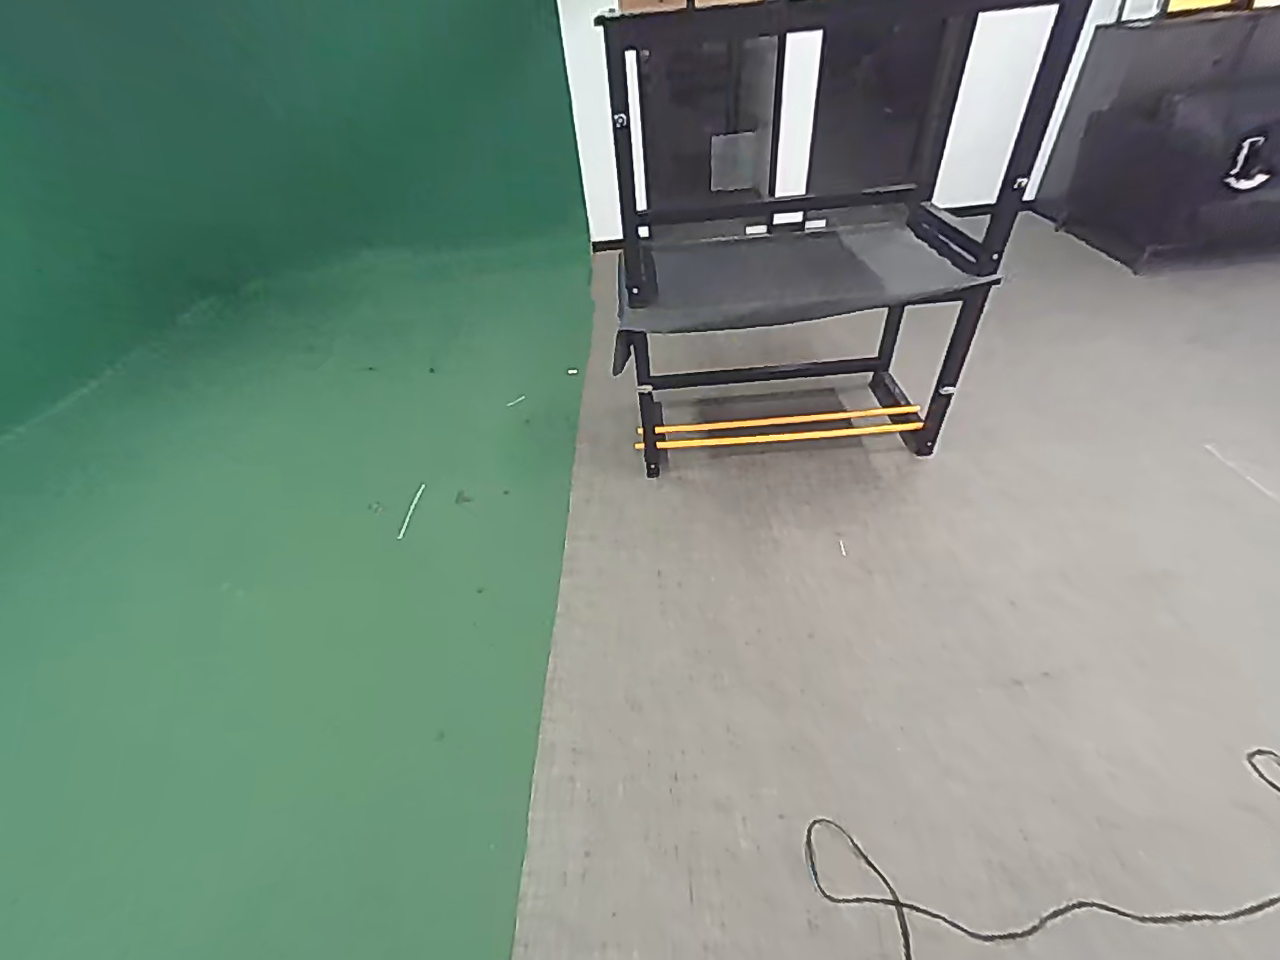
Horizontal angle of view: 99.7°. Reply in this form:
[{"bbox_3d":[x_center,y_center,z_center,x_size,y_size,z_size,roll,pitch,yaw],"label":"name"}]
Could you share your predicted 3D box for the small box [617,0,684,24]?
[{"bbox_3d":[0.021,-1.257,1.353,0.168,0.176,0.179,-5,42,1],"label":"small box"}]
